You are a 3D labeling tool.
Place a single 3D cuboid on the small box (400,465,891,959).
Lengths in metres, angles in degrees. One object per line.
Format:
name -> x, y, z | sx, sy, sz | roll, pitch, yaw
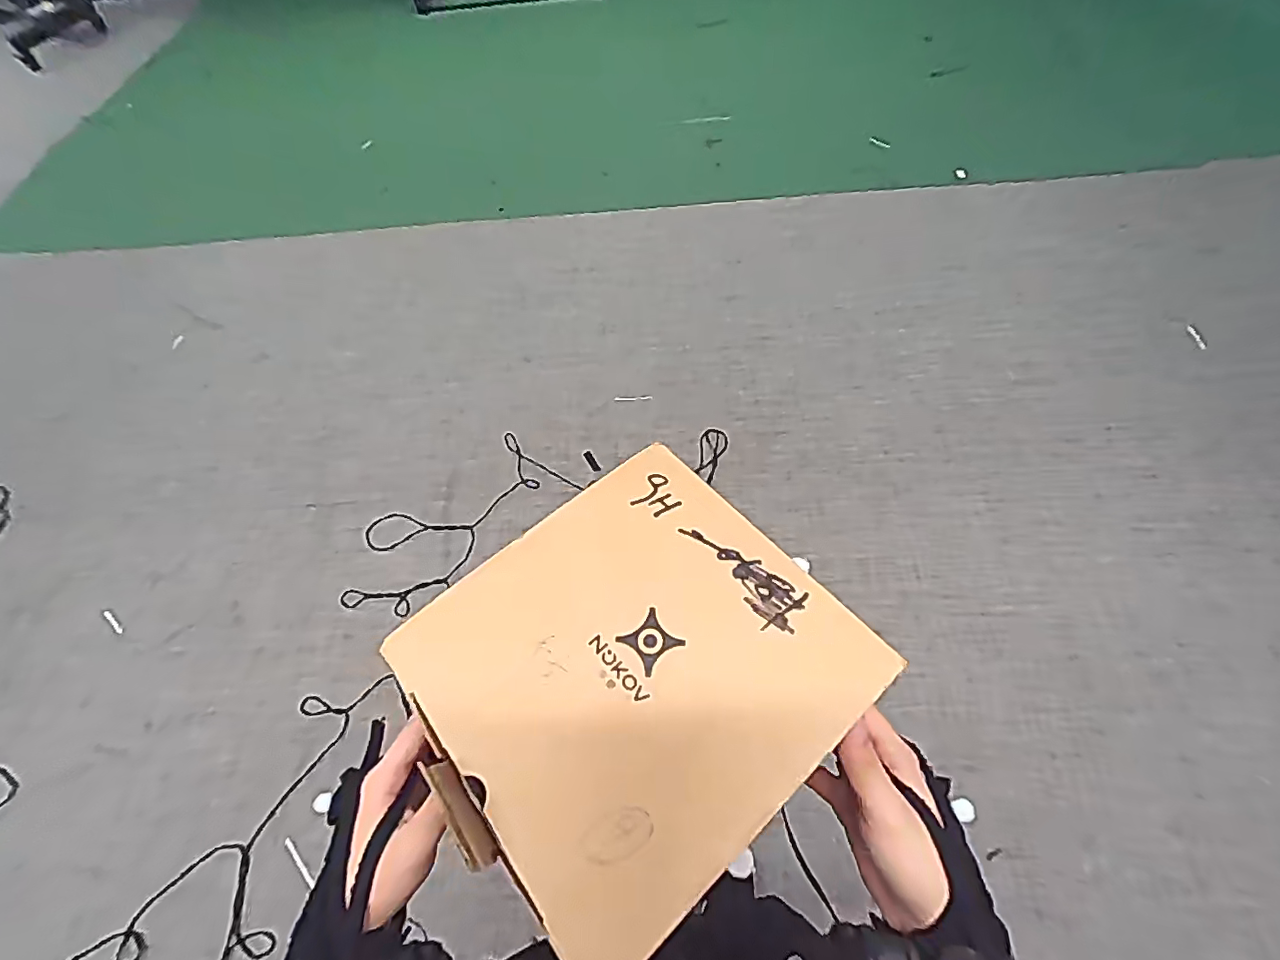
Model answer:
small box -> 0.004, 0.132, 0.319 | 0.179, 0.176, 0.168 | -37, 63, -19
